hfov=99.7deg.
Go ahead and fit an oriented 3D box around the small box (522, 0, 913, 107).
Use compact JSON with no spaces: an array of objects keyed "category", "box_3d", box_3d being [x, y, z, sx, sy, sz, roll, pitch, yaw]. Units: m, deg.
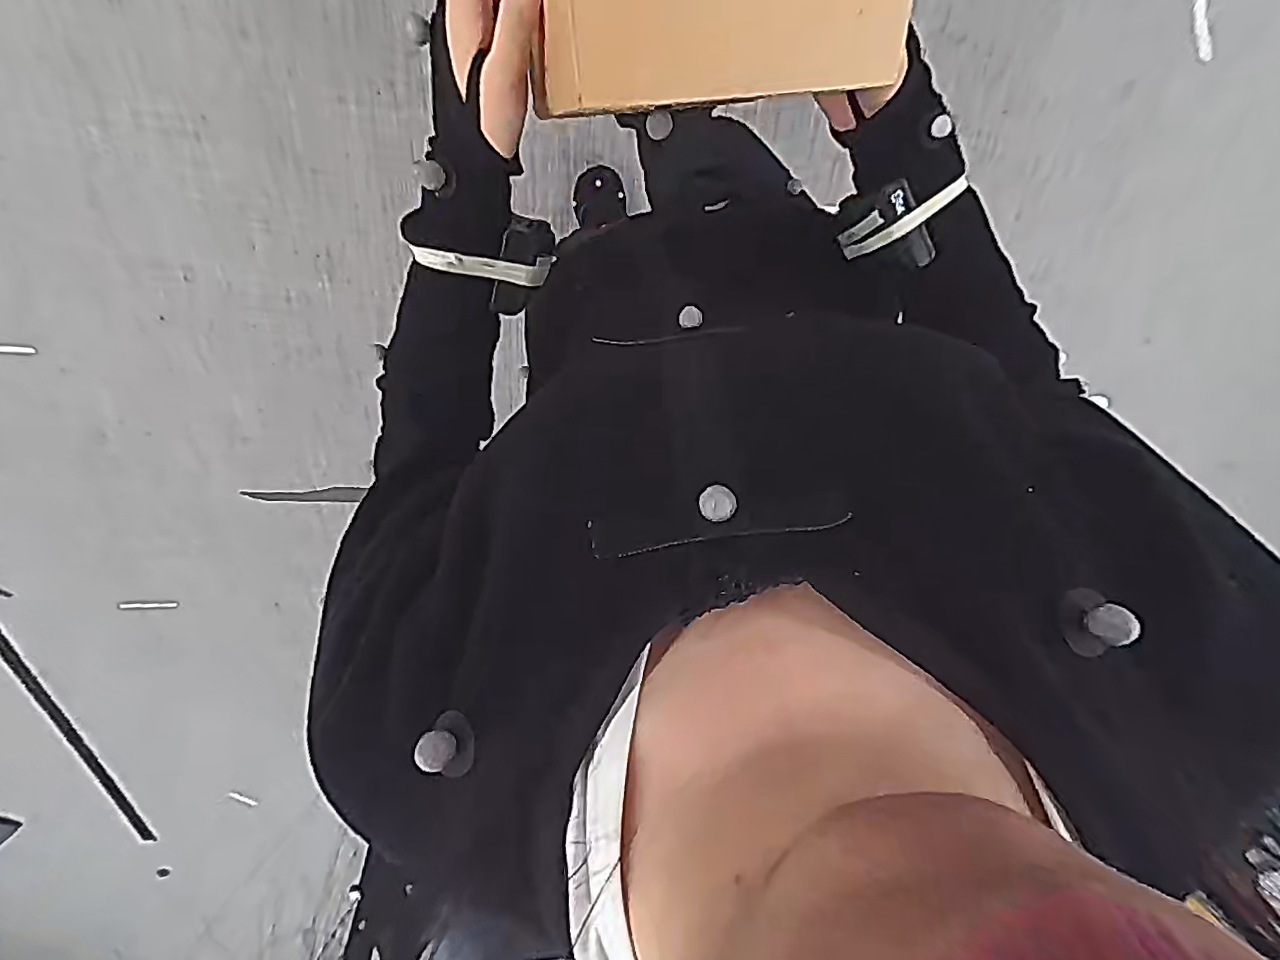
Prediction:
[{"category":"small box","box_3d":[0.025,-0.300,0.275,0.168,0.176,0.179,-13,124,-12]}]
